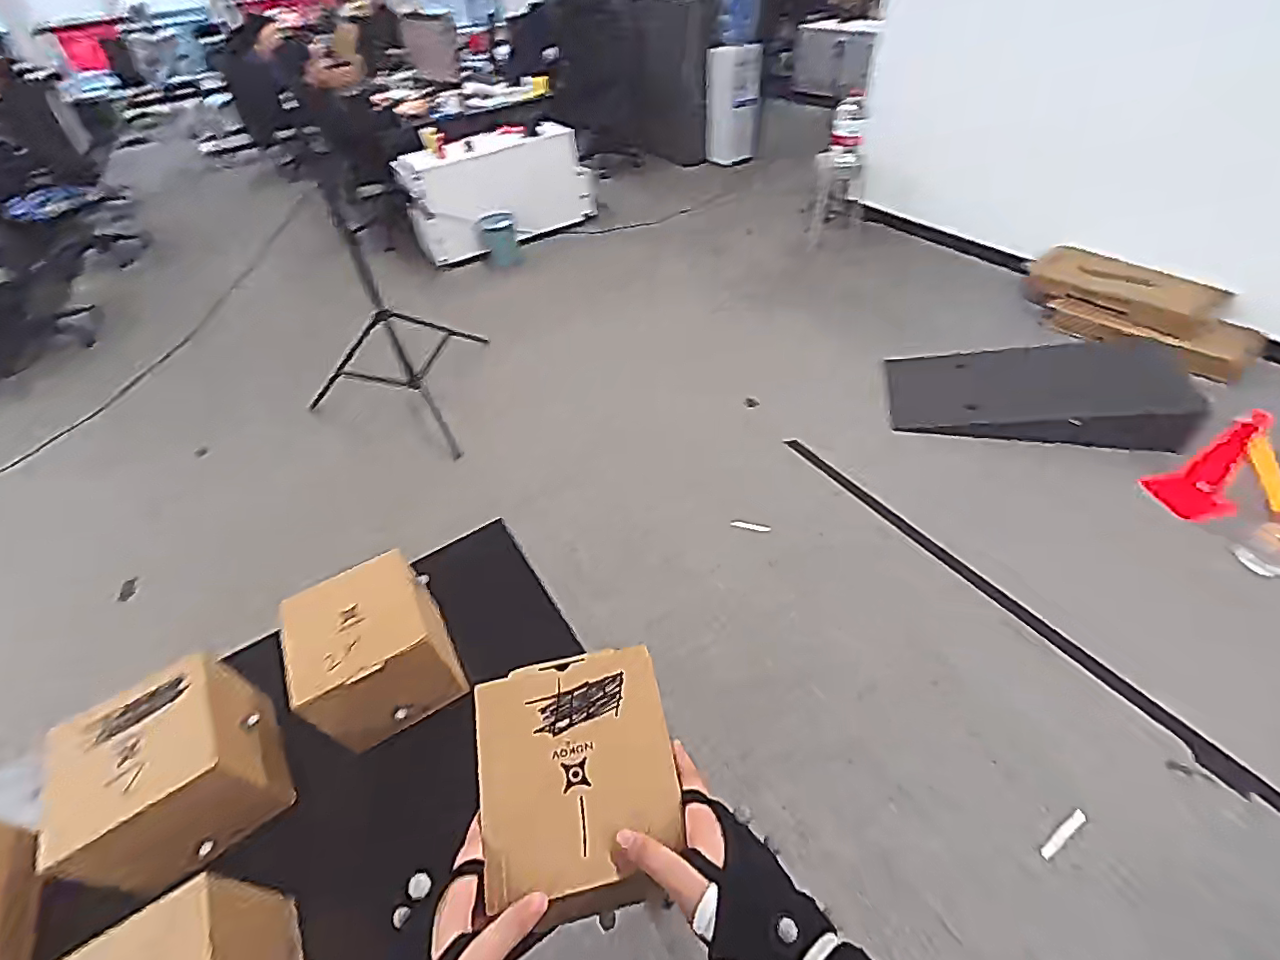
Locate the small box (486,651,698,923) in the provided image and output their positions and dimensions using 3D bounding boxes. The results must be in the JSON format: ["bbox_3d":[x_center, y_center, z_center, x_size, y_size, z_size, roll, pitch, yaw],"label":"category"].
[{"bbox_3d":[-0.044,0.298,0.526,0.168,0.176,0.179,-12,47,-4],"label":"small box"}]

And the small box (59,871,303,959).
[{"bbox_3d":[-0.446,0.521,0.506,0.179,0.176,0.168,-28,50,-21],"label":"small box"}]

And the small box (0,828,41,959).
[{"bbox_3d":[-0.811,0.493,0.575,0.168,0.176,0.179,-27,49,-19],"label":"small box"}]

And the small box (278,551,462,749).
[{"bbox_3d":[-0.379,0.241,0.771,0.168,0.176,0.179,-27,49,-18],"label":"small box"}]
